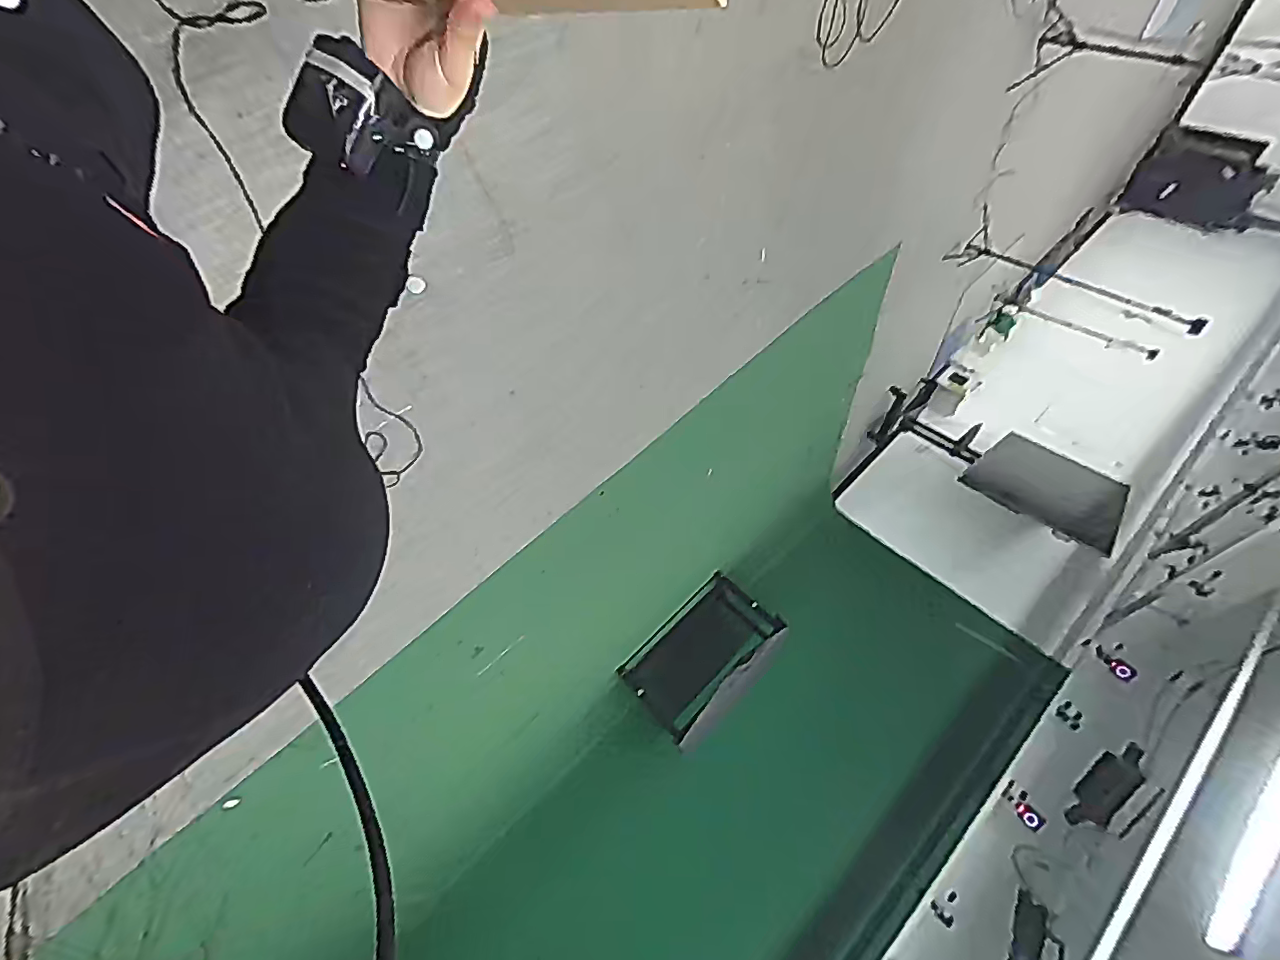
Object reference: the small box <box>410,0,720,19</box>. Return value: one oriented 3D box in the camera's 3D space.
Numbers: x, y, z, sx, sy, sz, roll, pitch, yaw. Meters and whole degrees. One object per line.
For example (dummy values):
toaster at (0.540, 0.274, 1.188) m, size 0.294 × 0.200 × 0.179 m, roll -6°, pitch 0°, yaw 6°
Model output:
small box at (-0.058, -0.311, 0.207) m, size 0.168 × 0.176 × 0.179 m, roll -50°, pitch 149°, yaw -55°
